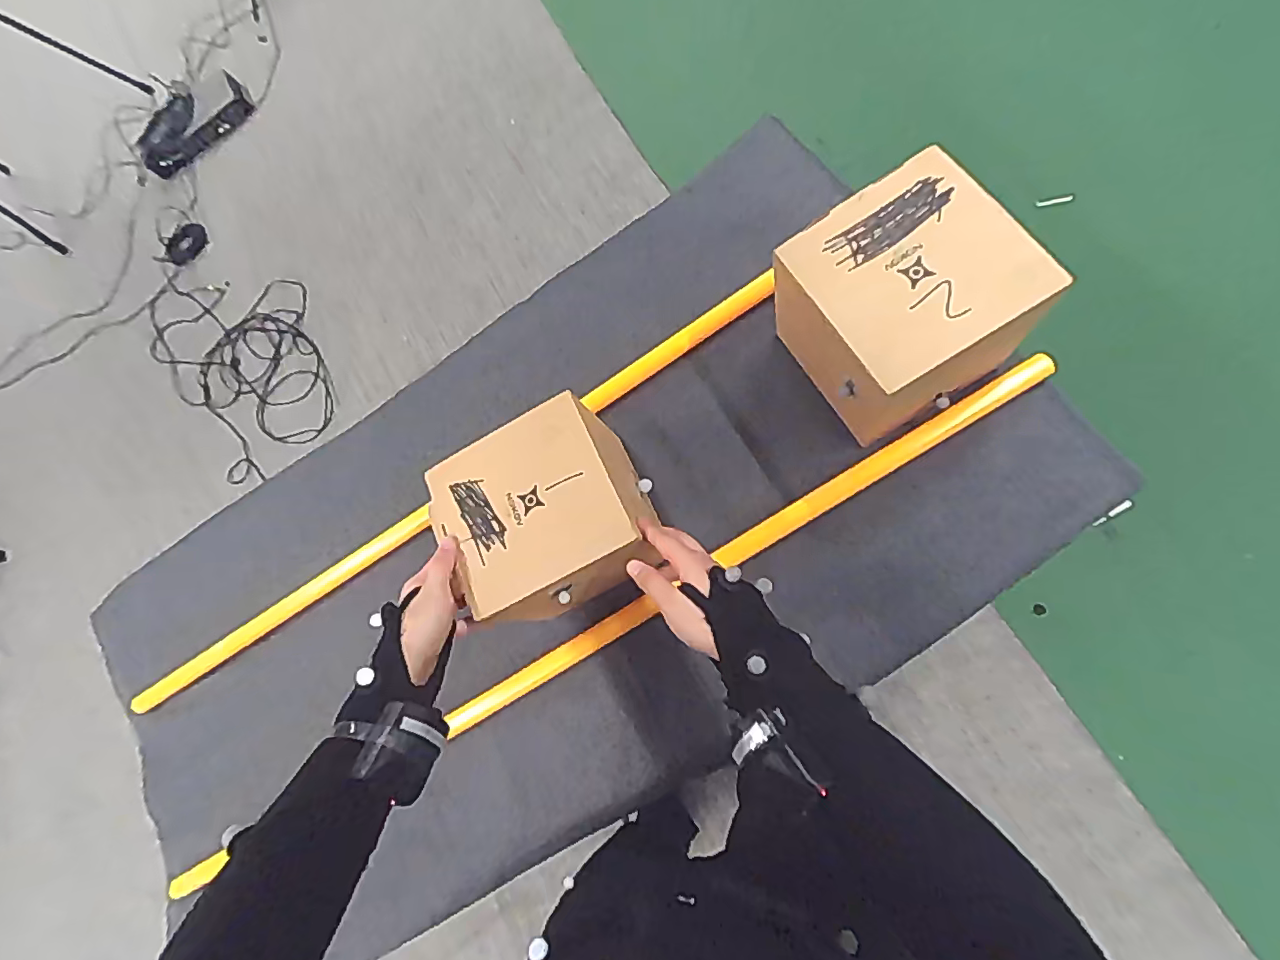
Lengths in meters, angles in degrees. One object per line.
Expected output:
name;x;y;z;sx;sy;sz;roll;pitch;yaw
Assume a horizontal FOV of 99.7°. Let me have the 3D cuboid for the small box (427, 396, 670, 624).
small box;-0.088;0.044;0.585;0.179;0.176;0.168;-29;72;7
